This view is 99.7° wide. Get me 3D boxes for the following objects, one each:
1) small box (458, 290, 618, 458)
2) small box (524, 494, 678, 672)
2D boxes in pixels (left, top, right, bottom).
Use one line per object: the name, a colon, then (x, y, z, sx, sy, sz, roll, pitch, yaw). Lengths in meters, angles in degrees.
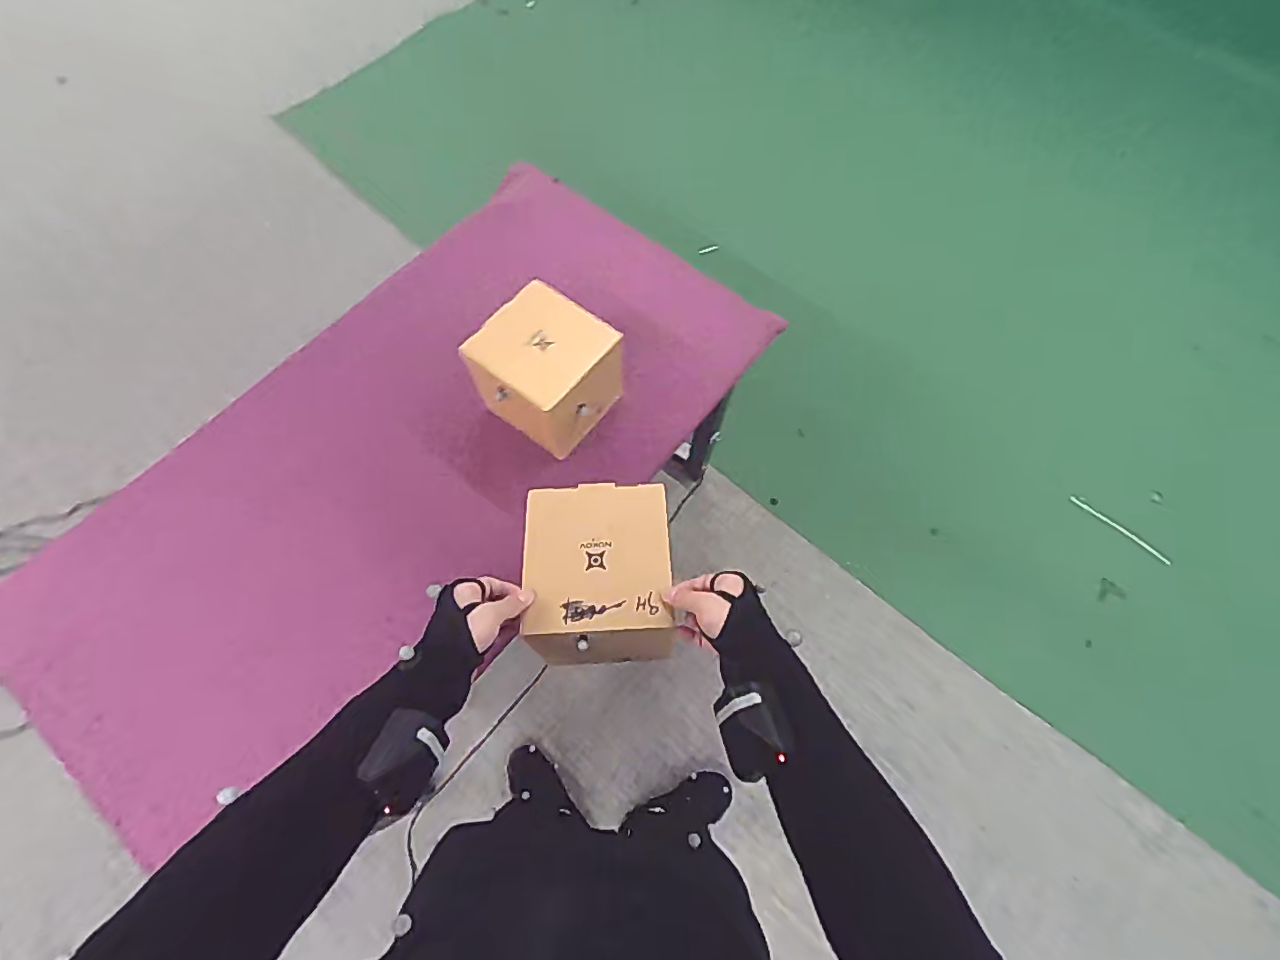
small box: (-0.149, -0.157, 0.864, 0.179, 0.176, 0.168, 35, 72, 14)
small box: (-0.041, 0.133, 0.677, 0.168, 0.176, 0.179, -2, 60, 1)
